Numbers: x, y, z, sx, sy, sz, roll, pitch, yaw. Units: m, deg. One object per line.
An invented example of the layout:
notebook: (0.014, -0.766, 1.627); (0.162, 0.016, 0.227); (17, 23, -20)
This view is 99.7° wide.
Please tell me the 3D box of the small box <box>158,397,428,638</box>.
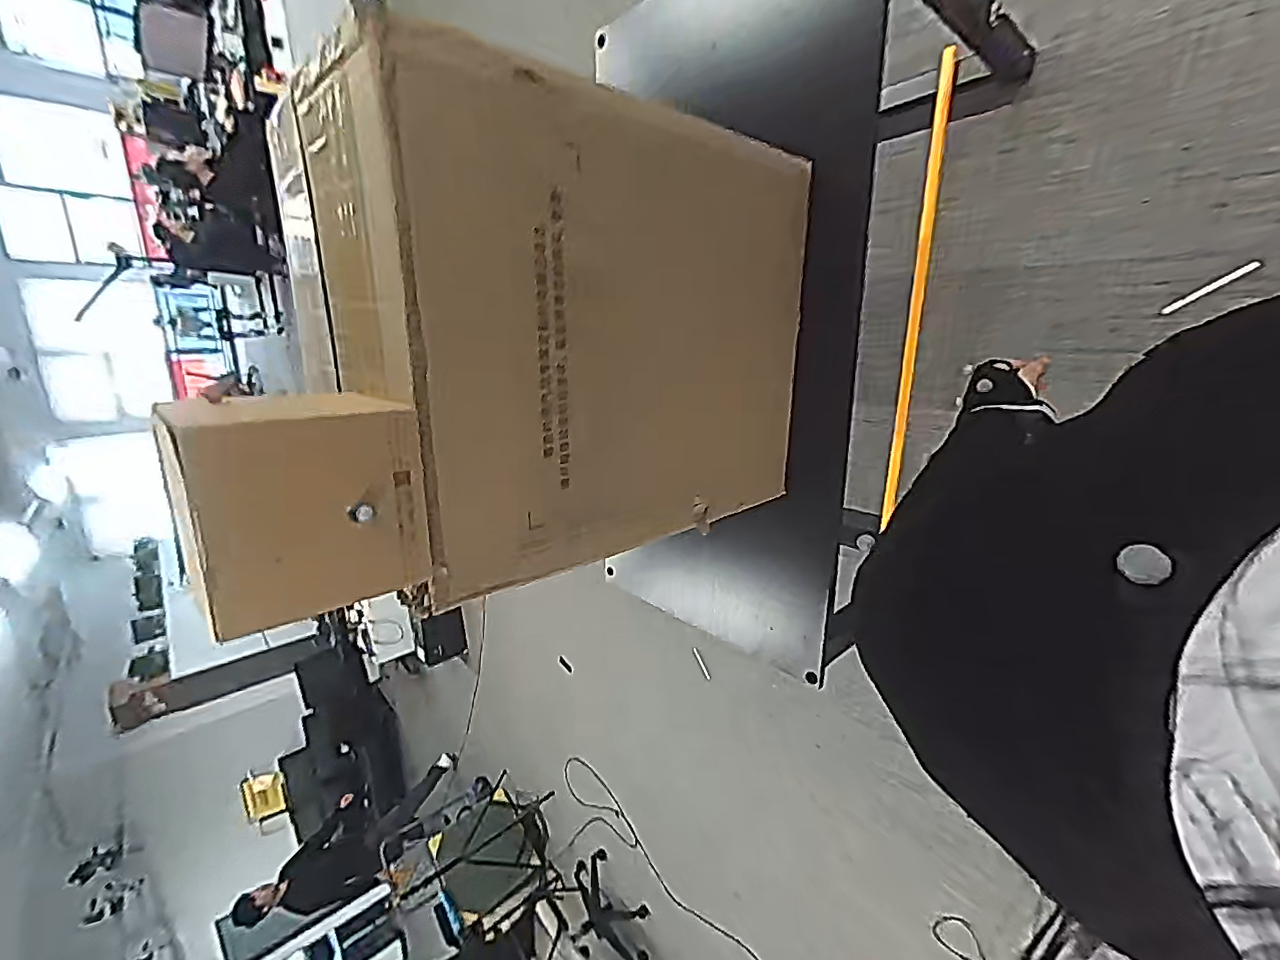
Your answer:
small box: (-0.316, 0.014, 0.502); (0.179, 0.176, 0.168); (15, 111, 43)
